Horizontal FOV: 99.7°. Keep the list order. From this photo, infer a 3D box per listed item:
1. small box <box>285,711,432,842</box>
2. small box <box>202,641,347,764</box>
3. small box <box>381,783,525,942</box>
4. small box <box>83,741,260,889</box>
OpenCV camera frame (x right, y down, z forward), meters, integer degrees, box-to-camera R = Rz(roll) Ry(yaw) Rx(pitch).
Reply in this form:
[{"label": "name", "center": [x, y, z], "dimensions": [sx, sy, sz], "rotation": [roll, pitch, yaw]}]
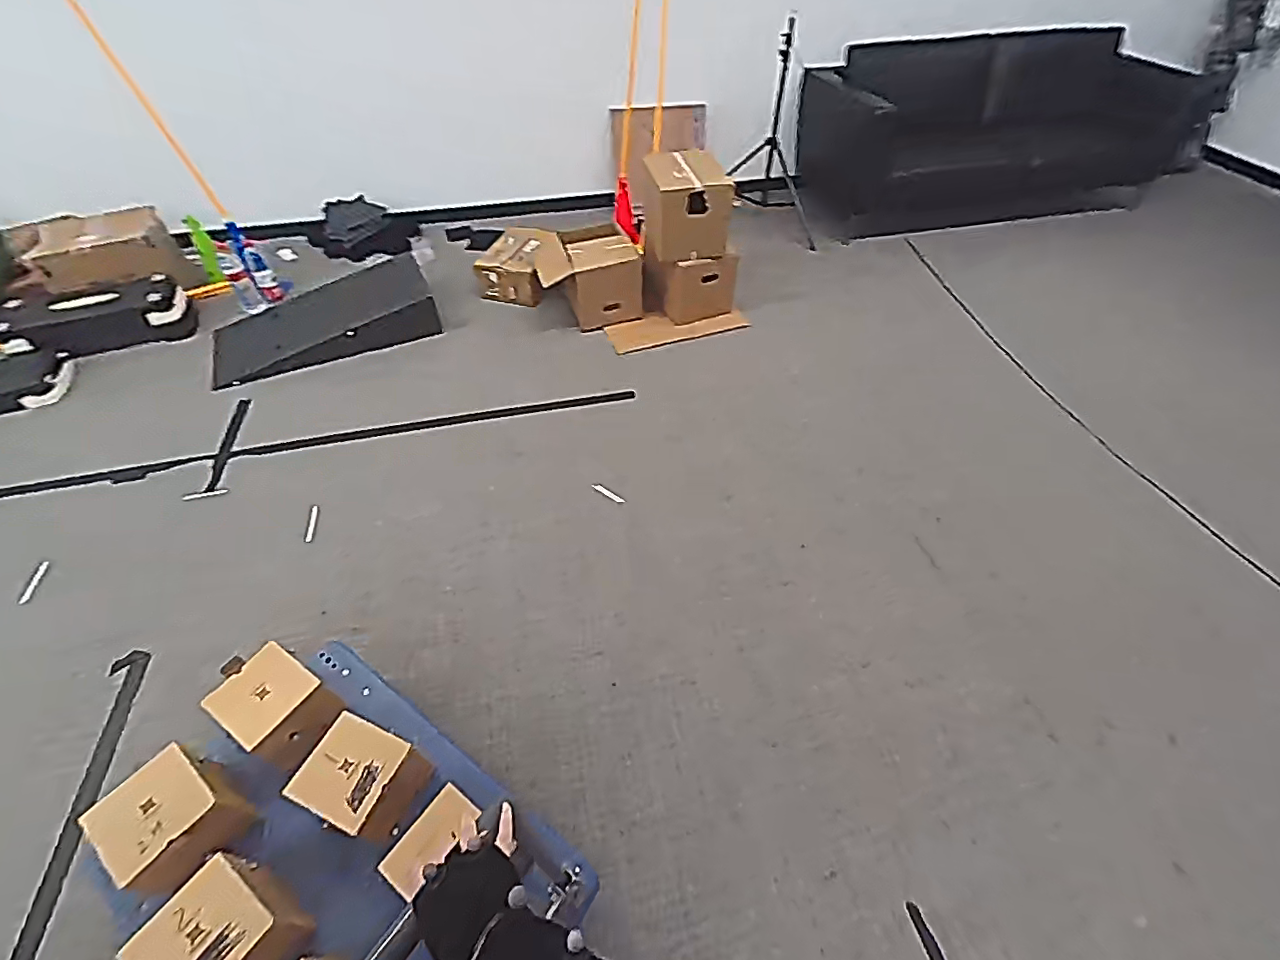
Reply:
[{"label": "small box", "center": [-0.554, 0.604, 1.093], "dimensions": [0.179, 0.176, 0.168], "rotation": [17, 50, 14]}, {"label": "small box", "center": [-0.786, 0.494, 1.184], "dimensions": [0.179, 0.176, 0.168], "rotation": [26, 53, 20]}, {"label": "small box", "center": [-0.335, 0.710, 1.008], "dimensions": [0.179, 0.176, 0.168], "rotation": [28, 53, 22]}, {"label": "small box", "center": [-0.890, 0.650, 1.042], "dimensions": [0.179, 0.176, 0.168], "rotation": [30, 55, 22]}]
